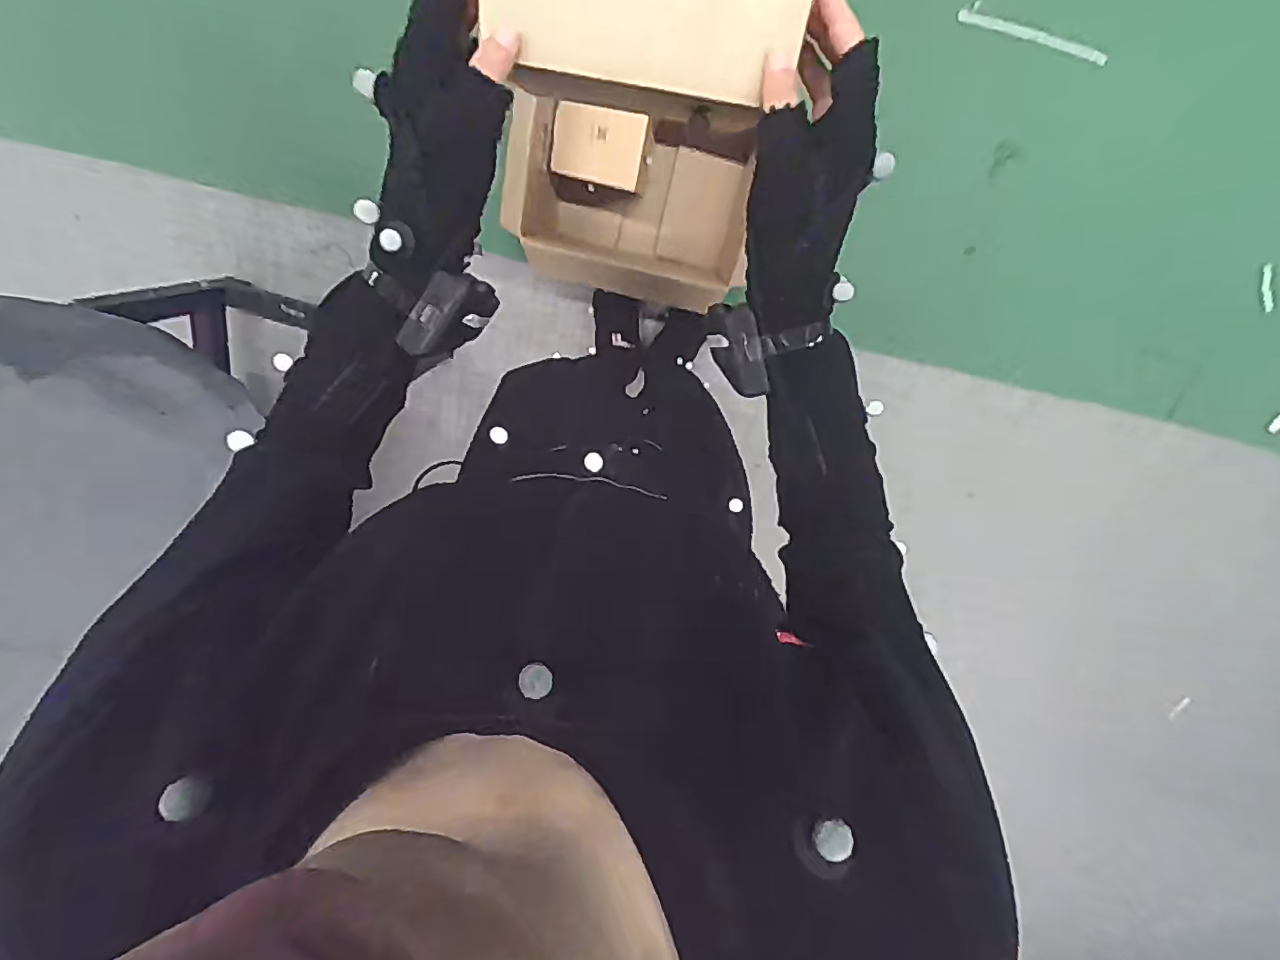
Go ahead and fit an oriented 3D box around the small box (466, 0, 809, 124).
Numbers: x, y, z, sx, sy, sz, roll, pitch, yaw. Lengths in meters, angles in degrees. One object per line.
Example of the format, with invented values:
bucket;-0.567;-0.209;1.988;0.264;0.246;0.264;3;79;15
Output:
small box;0.004;-0.324;0.323;0.179;0.176;0.168;7;120;-4
